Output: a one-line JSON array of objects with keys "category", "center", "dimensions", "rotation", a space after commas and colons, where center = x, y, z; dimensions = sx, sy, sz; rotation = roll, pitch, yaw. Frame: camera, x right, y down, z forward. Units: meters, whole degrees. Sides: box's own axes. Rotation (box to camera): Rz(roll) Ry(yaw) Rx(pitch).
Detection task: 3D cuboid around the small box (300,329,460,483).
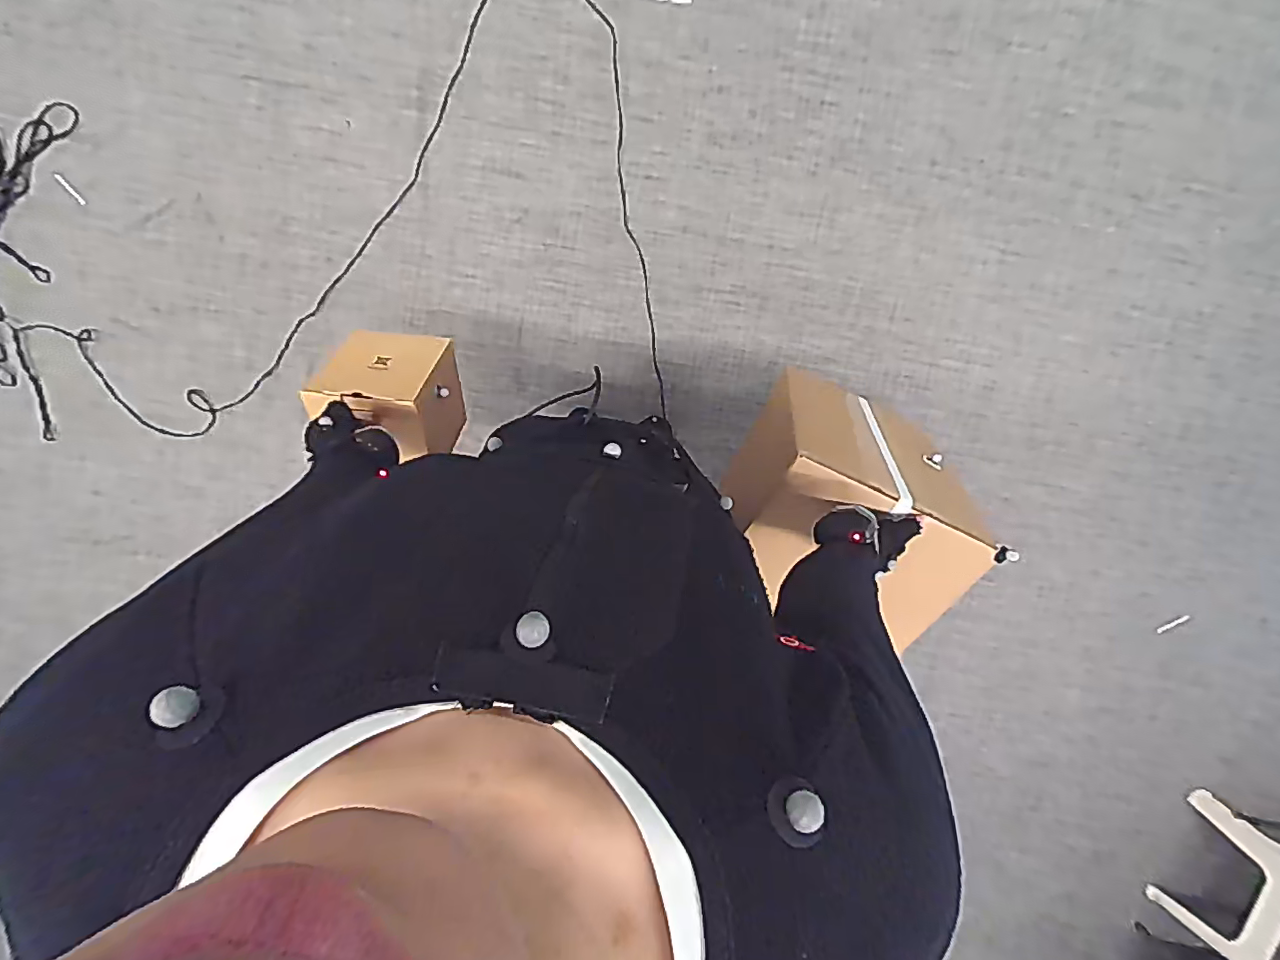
[{"category": "small box", "center": [-0.402, -0.120, 0.876], "dimensions": [0.168, 0.179, 0.176], "rotation": [5, 136, -1]}]
